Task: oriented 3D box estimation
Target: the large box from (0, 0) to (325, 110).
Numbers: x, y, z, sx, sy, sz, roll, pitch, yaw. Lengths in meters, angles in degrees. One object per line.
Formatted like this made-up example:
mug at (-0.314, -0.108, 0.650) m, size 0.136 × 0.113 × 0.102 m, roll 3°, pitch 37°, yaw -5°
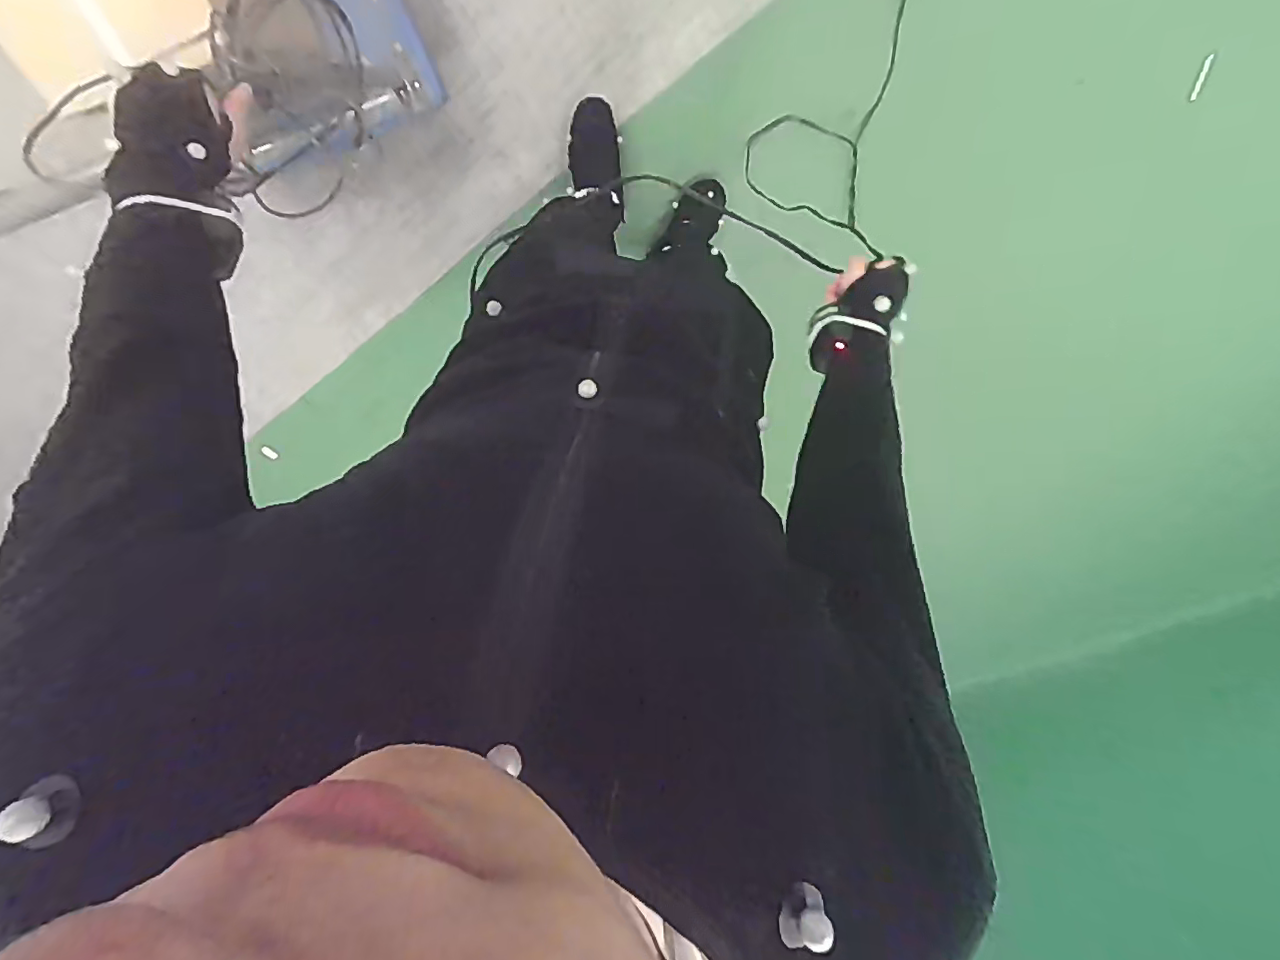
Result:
large box at (-0.758, -0.816, 0.767) m, size 0.320 × 0.320 × 0.408 m, roll -12°, pitch 129°, yaw 7°
